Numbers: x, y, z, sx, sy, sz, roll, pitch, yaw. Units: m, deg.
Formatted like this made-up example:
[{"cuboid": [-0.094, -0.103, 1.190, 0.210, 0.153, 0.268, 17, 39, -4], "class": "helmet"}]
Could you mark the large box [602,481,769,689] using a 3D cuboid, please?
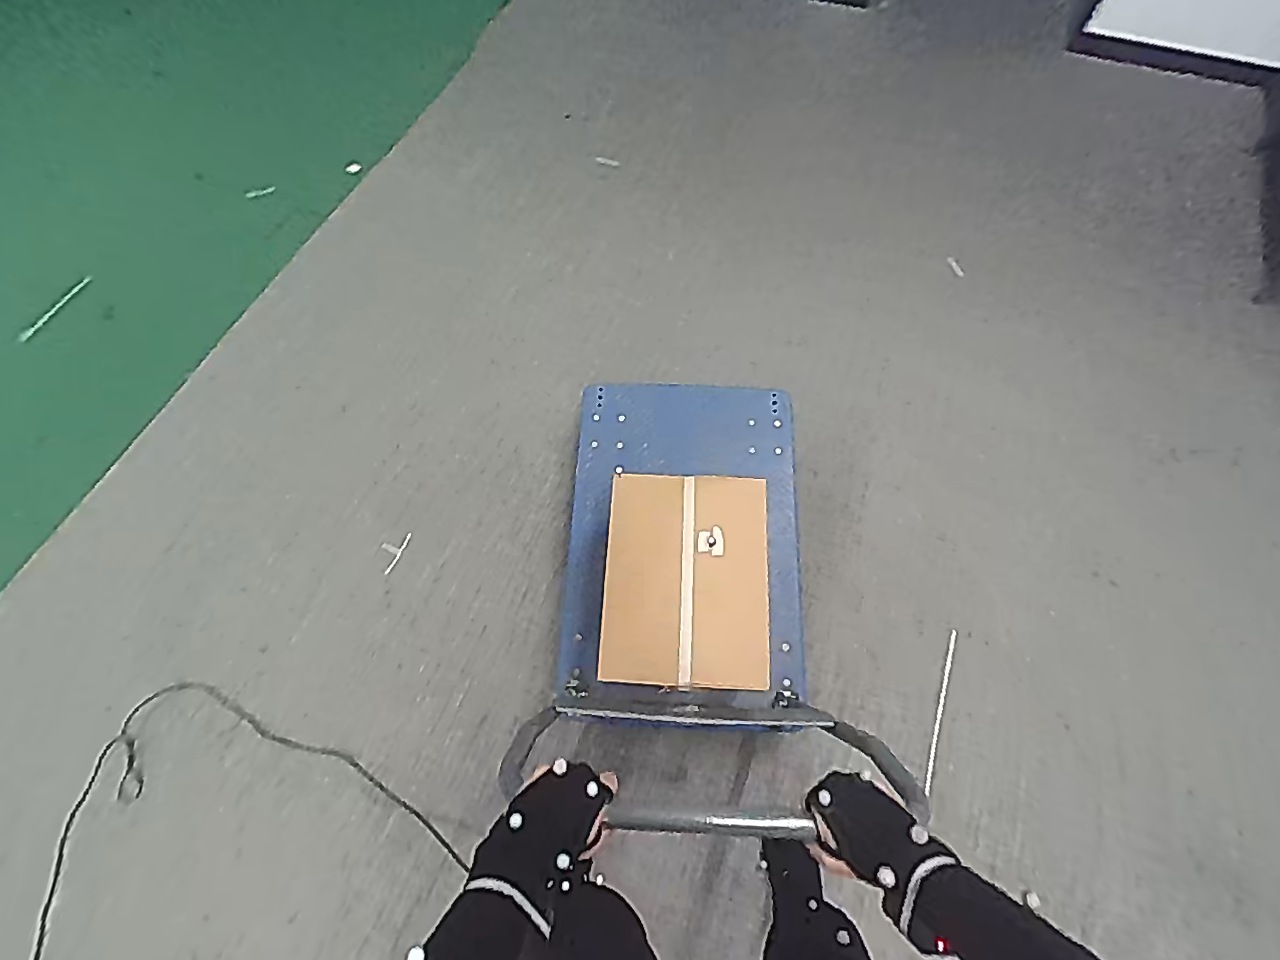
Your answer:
[{"cuboid": [0.097, 0.242, 1.196, 0.320, 0.320, 0.408, 2, 71, 3], "class": "large box"}]
